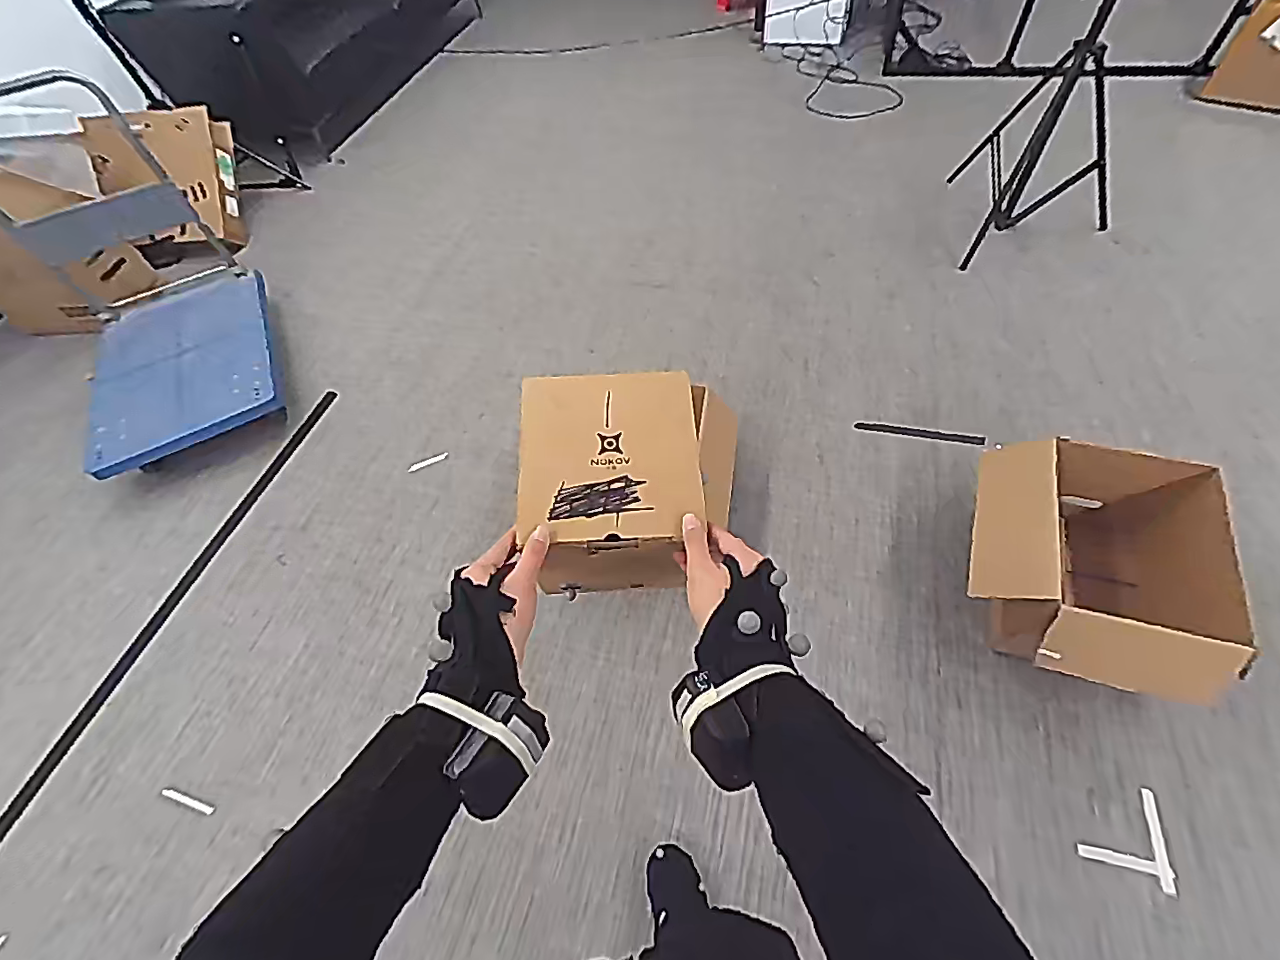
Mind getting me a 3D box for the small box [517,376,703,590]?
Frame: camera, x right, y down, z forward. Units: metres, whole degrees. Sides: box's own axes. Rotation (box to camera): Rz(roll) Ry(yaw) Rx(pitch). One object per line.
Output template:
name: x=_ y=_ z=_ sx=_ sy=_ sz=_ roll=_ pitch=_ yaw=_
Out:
small box: x=-0.030 y=0.013 z=0.573 sx=0.168 sy=0.176 sz=0.179 roll=-3 pitch=63 yaw=-3
